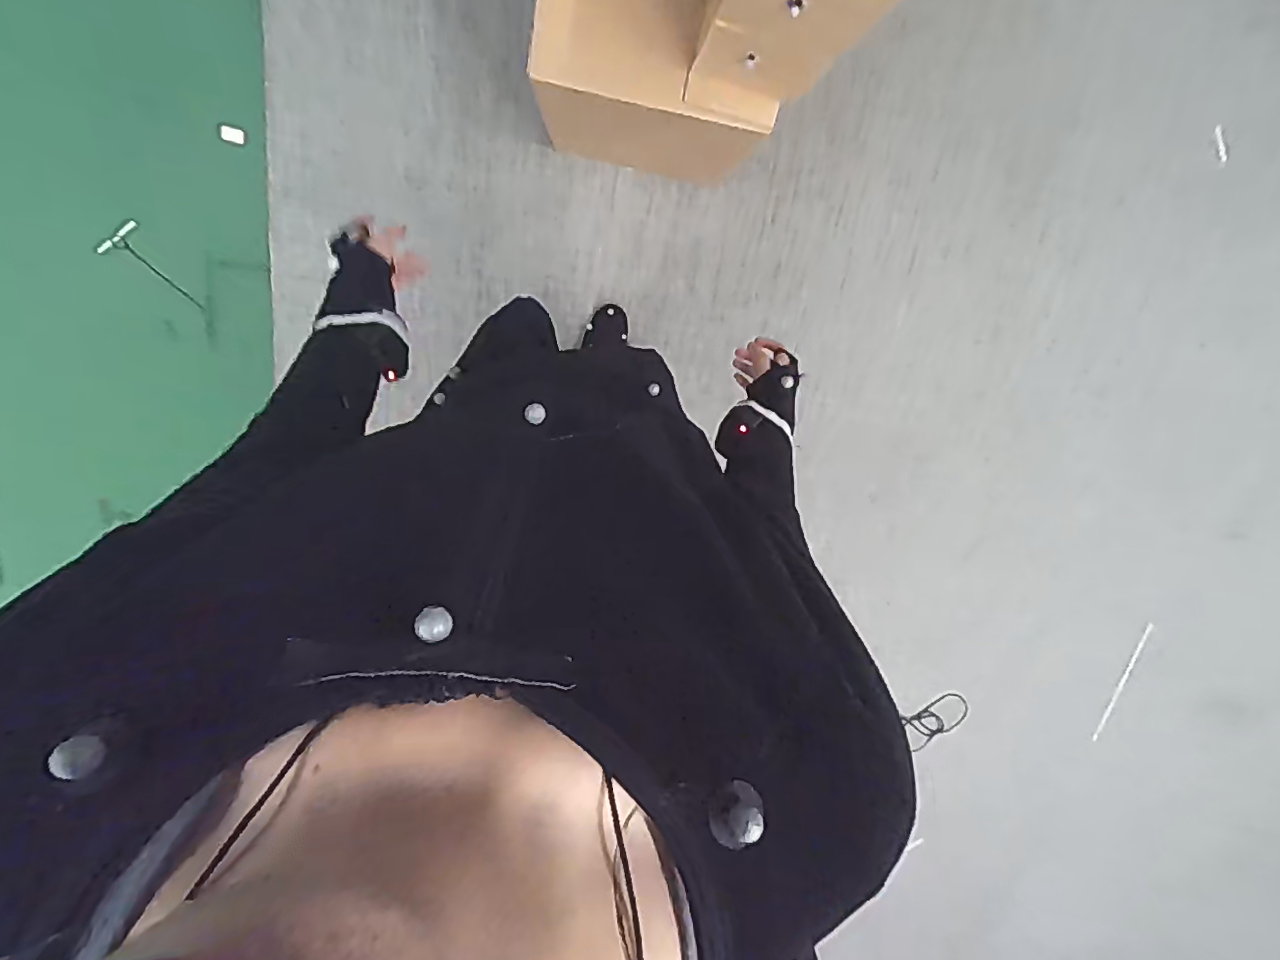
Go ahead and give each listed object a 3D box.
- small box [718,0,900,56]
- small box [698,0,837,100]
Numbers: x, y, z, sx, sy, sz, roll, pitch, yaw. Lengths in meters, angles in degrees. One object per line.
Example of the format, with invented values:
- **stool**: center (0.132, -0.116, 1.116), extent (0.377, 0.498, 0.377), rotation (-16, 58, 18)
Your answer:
- **small box**: center (0.205, -0.620, 0.609), extent (0.179, 0.176, 0.168), rotation (12, 108, -8)
- **small box**: center (0.190, -0.672, 0.764), extent (0.179, 0.176, 0.168), rotation (11, 109, -7)
